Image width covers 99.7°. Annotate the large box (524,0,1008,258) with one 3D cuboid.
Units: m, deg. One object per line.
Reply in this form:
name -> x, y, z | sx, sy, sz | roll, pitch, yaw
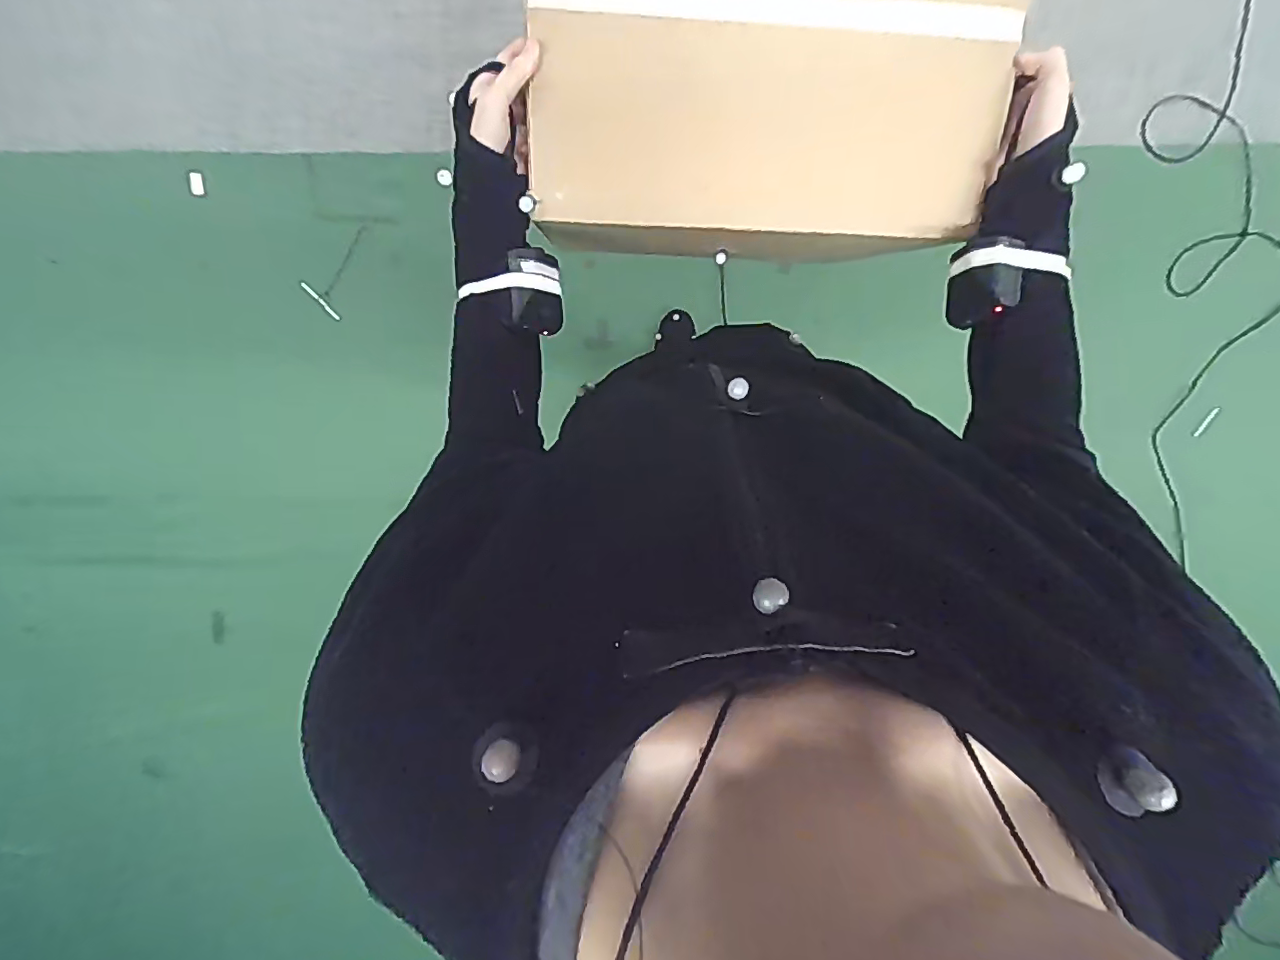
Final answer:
large box -> 0.099, -0.415, 0.587 | 0.408, 0.320, 0.320 | 0, 107, -4
